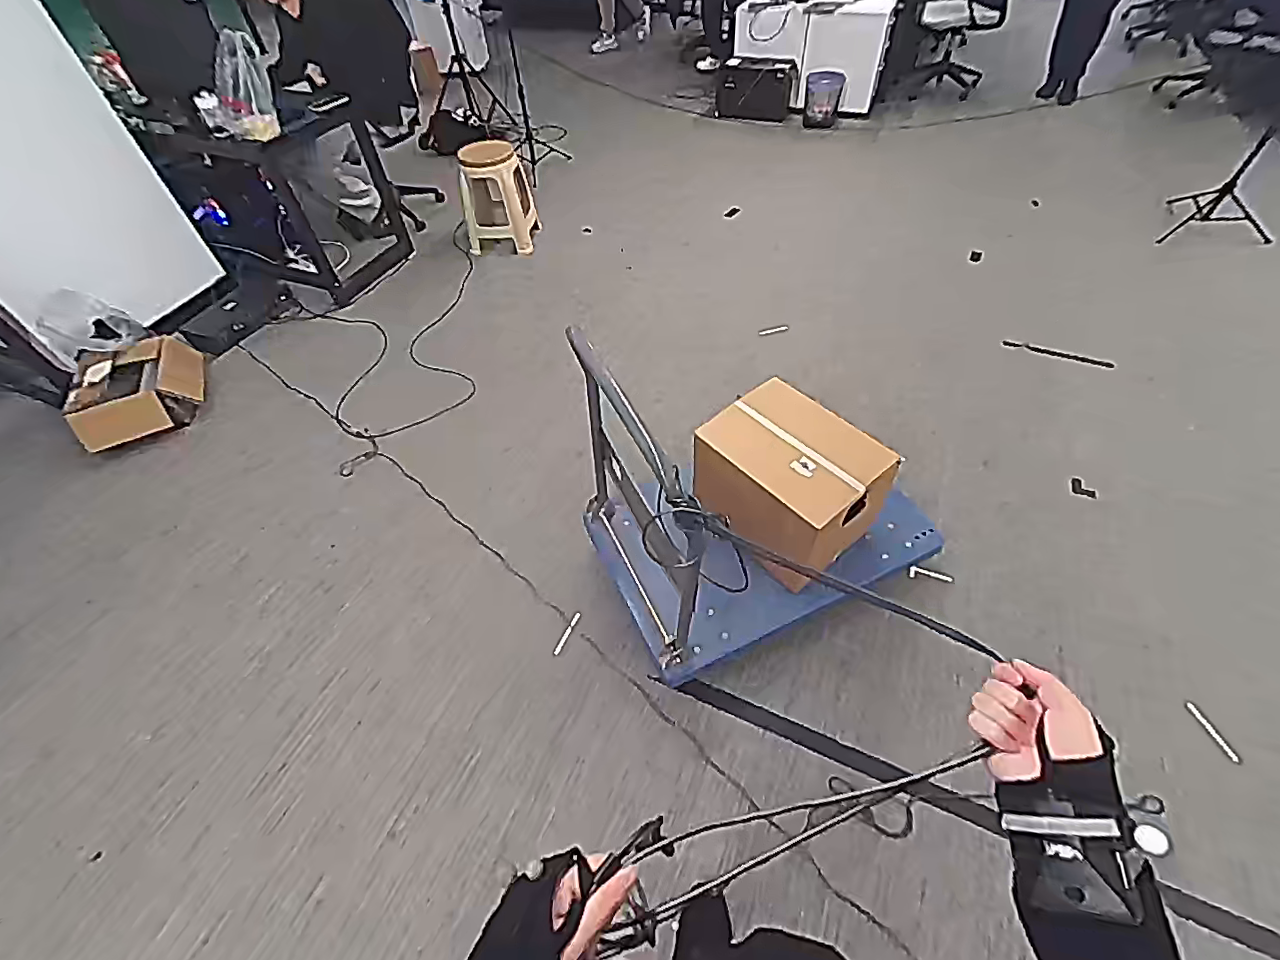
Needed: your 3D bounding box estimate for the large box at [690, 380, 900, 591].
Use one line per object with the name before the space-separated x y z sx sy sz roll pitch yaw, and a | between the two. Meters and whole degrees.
large box | 0.381 0.010 1.438 0.320 0.320 0.408 -35 58 -21
